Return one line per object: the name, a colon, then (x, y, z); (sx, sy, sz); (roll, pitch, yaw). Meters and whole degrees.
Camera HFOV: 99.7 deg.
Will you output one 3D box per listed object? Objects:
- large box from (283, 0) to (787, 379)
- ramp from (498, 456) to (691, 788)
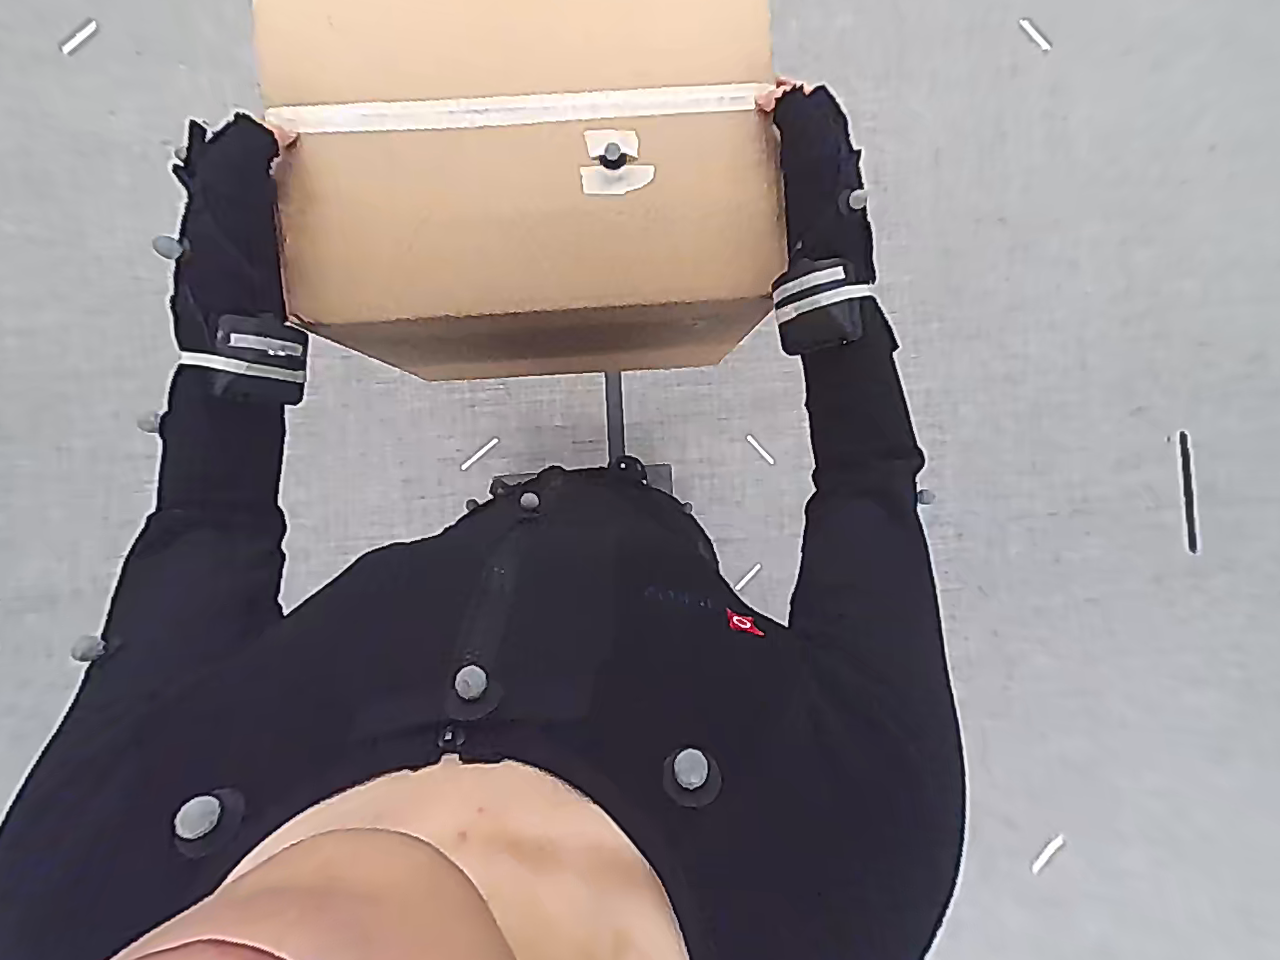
large box: (-0.092, -0.304, 0.596); (0.408, 0.320, 0.320); (-4, 92, -3)
ramp: (-0.112, 0.435, 1.575); (0.509, 0.206, 0.991); (-6, 91, -3)
